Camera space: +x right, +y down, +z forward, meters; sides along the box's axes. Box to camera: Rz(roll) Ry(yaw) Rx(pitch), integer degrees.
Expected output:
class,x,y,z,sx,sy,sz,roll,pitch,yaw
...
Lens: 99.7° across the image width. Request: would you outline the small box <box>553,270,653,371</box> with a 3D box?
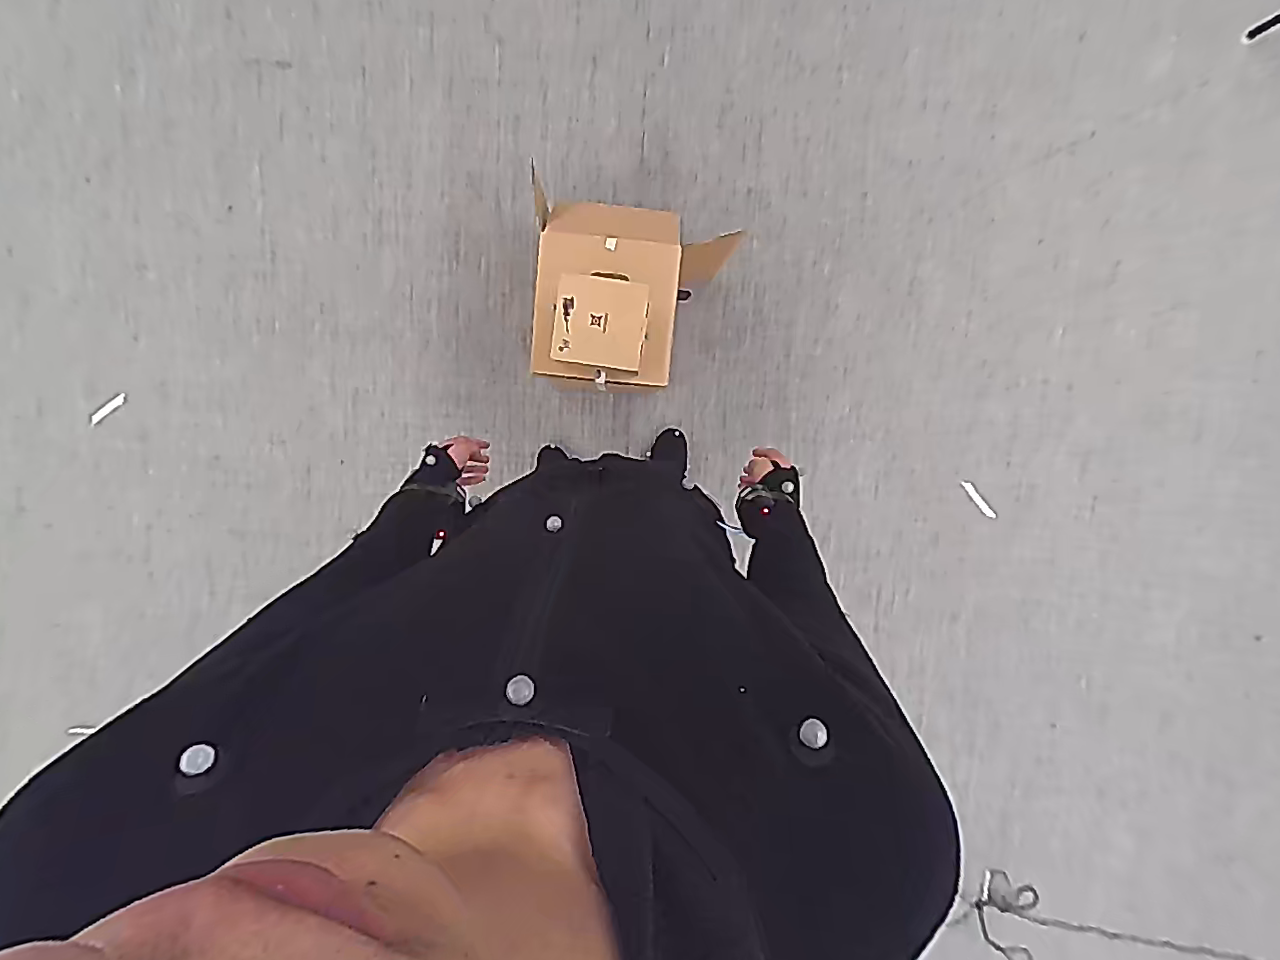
class,x,y,z,sx,sy,sz,roll,pitch,yaw
small box,-0.075,-0.321,1.122,0.179,0.176,0.168,9,98,-3
